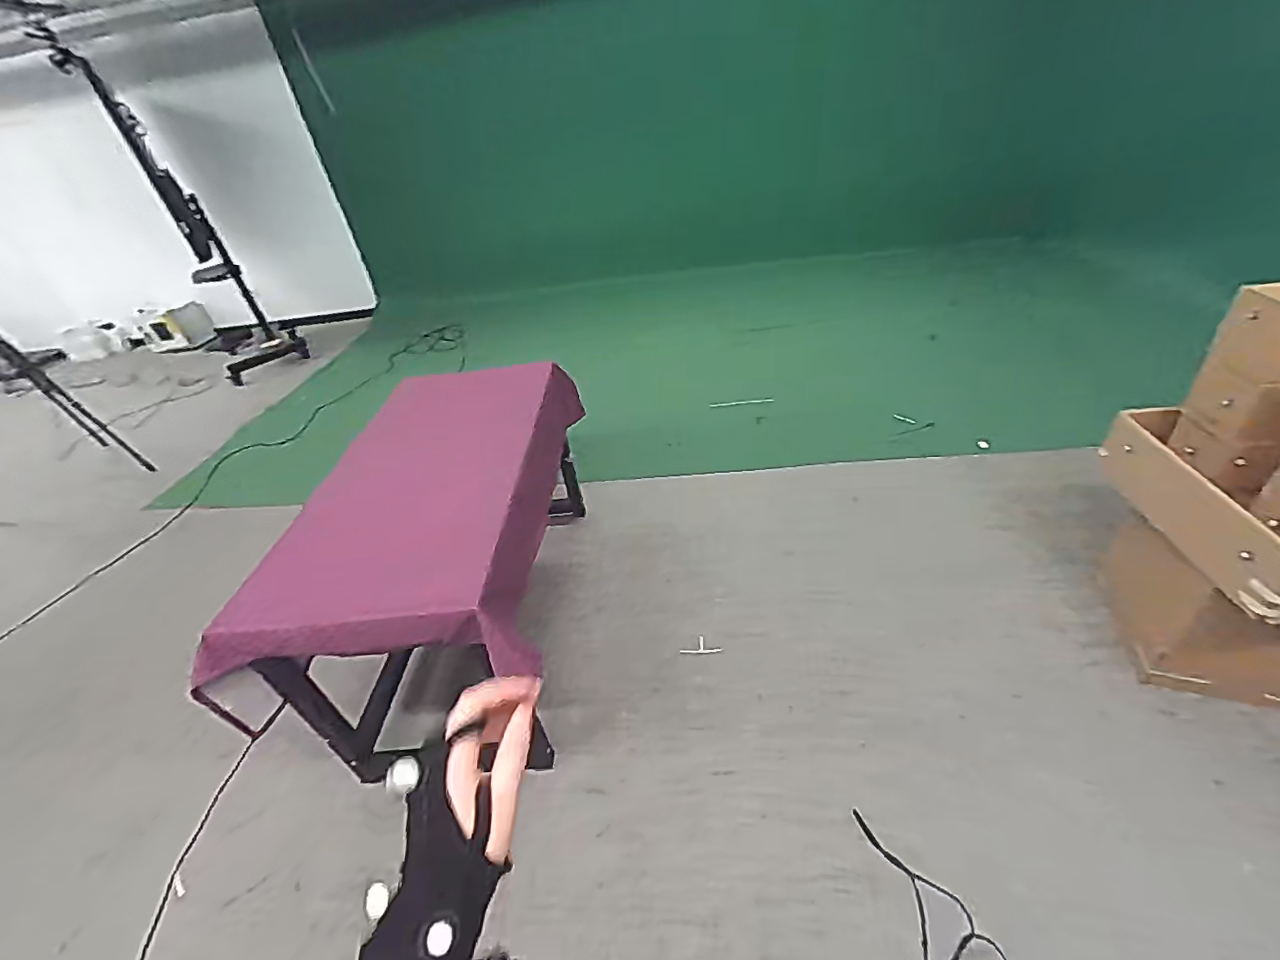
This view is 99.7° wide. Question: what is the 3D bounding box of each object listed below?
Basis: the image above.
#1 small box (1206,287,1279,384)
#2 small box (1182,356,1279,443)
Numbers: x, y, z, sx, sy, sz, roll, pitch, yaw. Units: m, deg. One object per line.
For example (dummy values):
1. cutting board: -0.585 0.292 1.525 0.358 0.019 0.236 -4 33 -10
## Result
1. small box: 1.482 -0.334 1.243 0.168 0.176 0.179 -2 37 11
2. small box: 1.511 -0.203 1.338 0.179 0.176 0.168 -3 37 8
